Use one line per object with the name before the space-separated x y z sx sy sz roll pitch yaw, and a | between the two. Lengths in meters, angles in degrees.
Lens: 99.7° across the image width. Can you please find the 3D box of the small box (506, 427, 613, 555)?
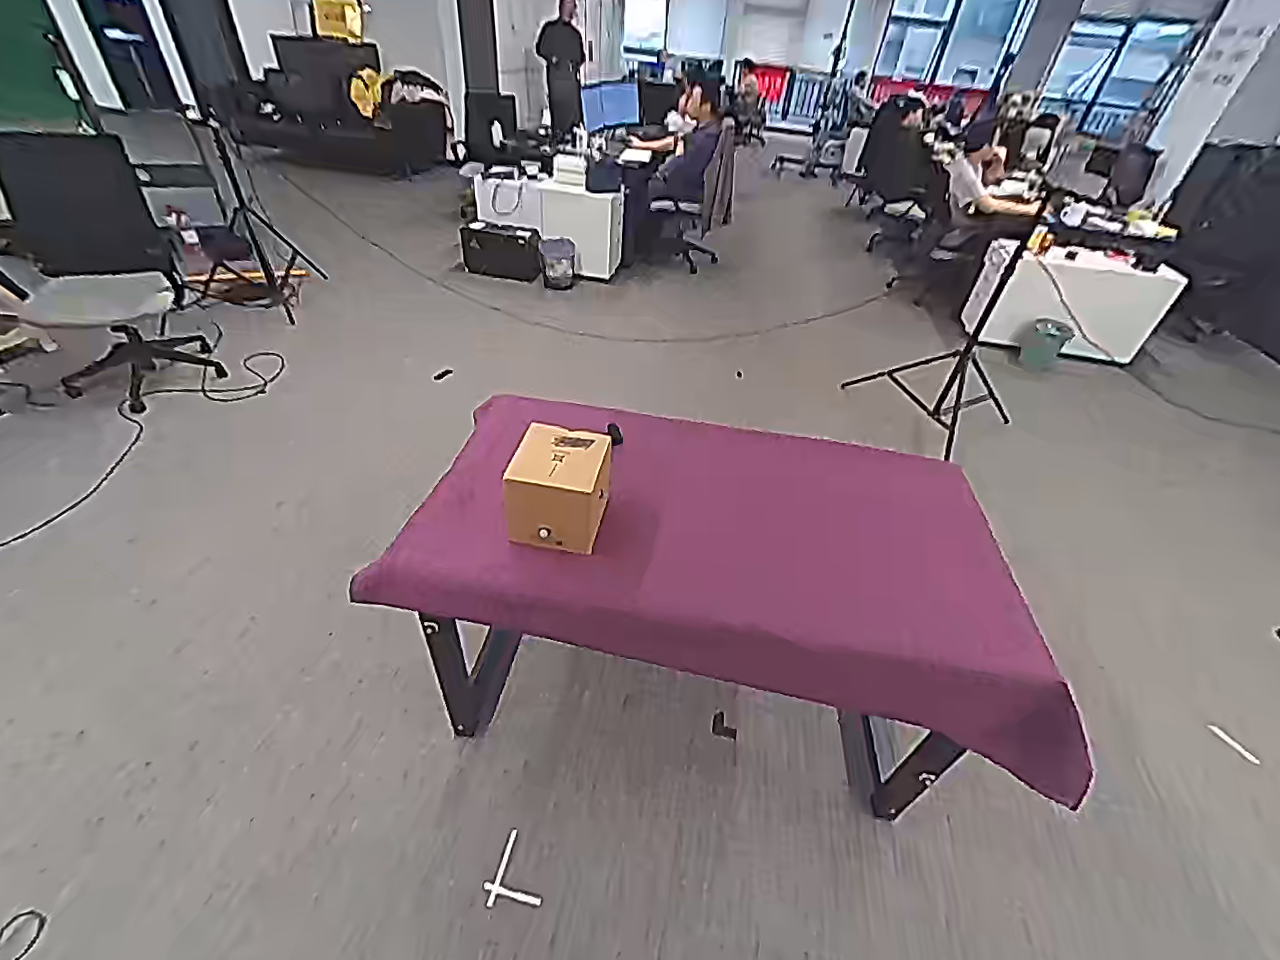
small box | -0.155 0.021 1.072 0.168 0.176 0.179 9 41 4
